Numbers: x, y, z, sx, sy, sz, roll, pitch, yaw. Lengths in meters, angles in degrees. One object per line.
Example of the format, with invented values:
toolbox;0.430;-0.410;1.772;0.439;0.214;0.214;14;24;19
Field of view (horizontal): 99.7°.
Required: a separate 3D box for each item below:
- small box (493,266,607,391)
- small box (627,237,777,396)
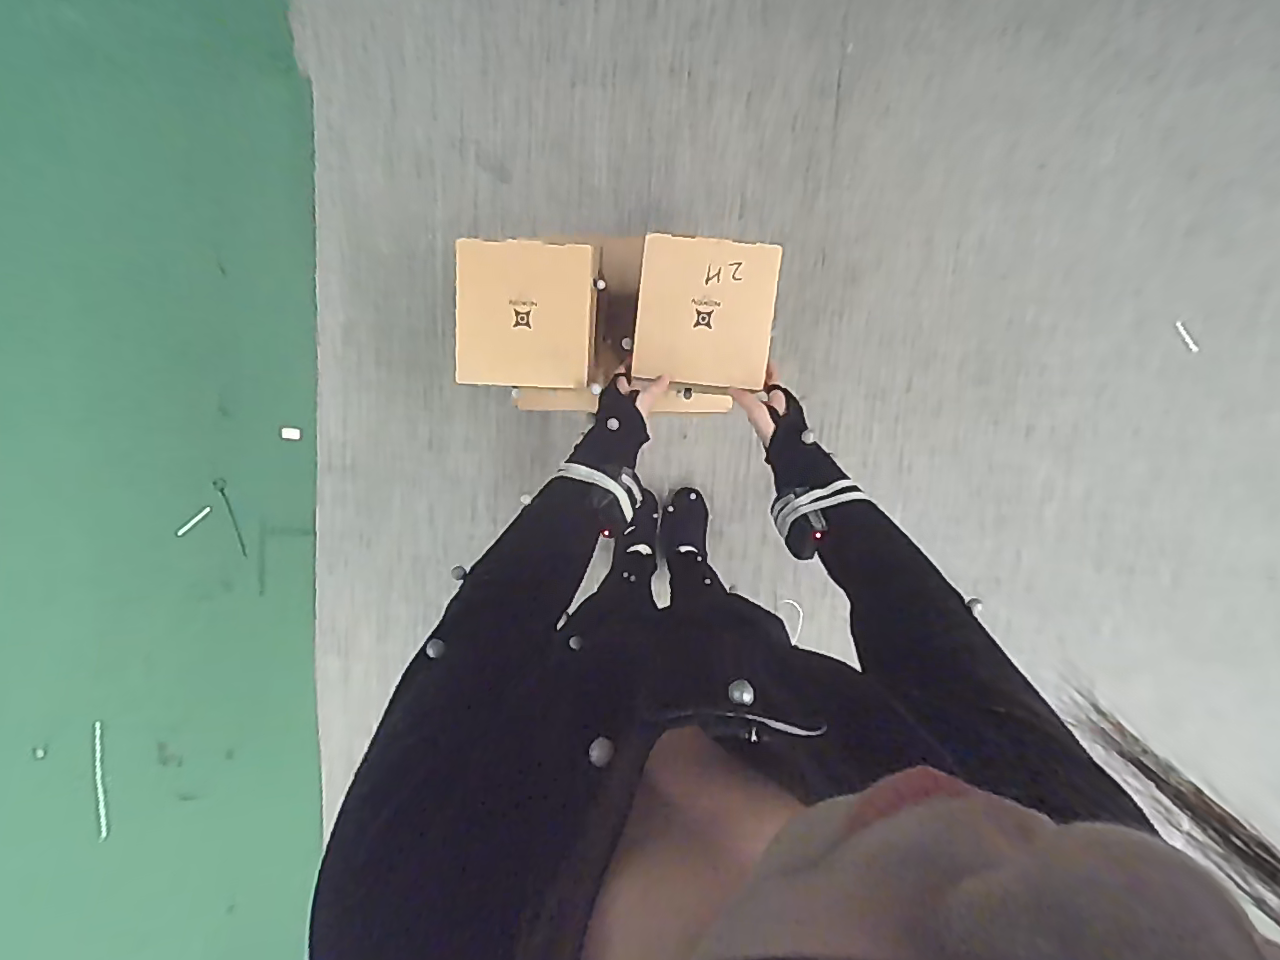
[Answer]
small box;-0.144;-0.246;0.913;0.168;0.176;0.179;3;98;-1
small box;0.079;-0.212;0.745;0.168;0.176;0.179;7;98;1
